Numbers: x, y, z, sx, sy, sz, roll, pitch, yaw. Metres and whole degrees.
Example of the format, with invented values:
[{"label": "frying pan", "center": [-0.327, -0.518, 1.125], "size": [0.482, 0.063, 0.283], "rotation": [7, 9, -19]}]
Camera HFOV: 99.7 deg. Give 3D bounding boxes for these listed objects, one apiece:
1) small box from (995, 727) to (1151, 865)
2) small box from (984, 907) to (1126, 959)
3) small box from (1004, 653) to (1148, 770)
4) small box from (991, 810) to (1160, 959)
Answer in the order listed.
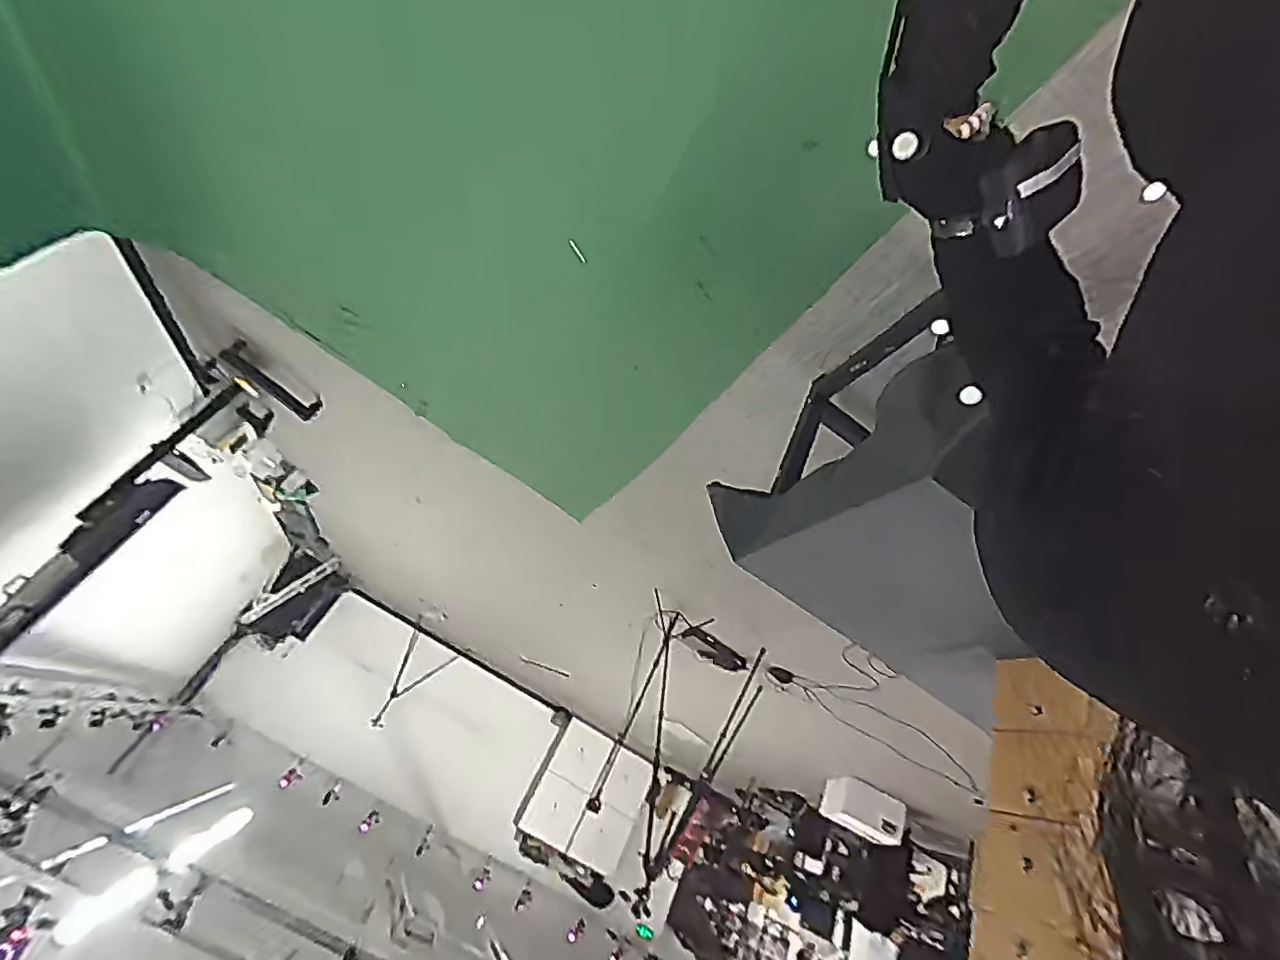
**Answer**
[{"label": "small box", "center": [0.834, 0.597, 1.046], "size": [0.168, 0.176, 0.179], "rotation": [34, 148, -7]}, {"label": "small box", "center": [0.689, 0.836, 0.873], "size": [0.168, 0.176, 0.179], "rotation": [36, 148, -9]}, {"label": "small box", "center": [0.903, 0.478, 1.131], "size": [0.168, 0.176, 0.179], "rotation": [34, 149, -7]}, {"label": "small box", "center": [0.763, 0.717, 0.958], "size": [0.179, 0.176, 0.168], "rotation": [35, 148, -8]}]
